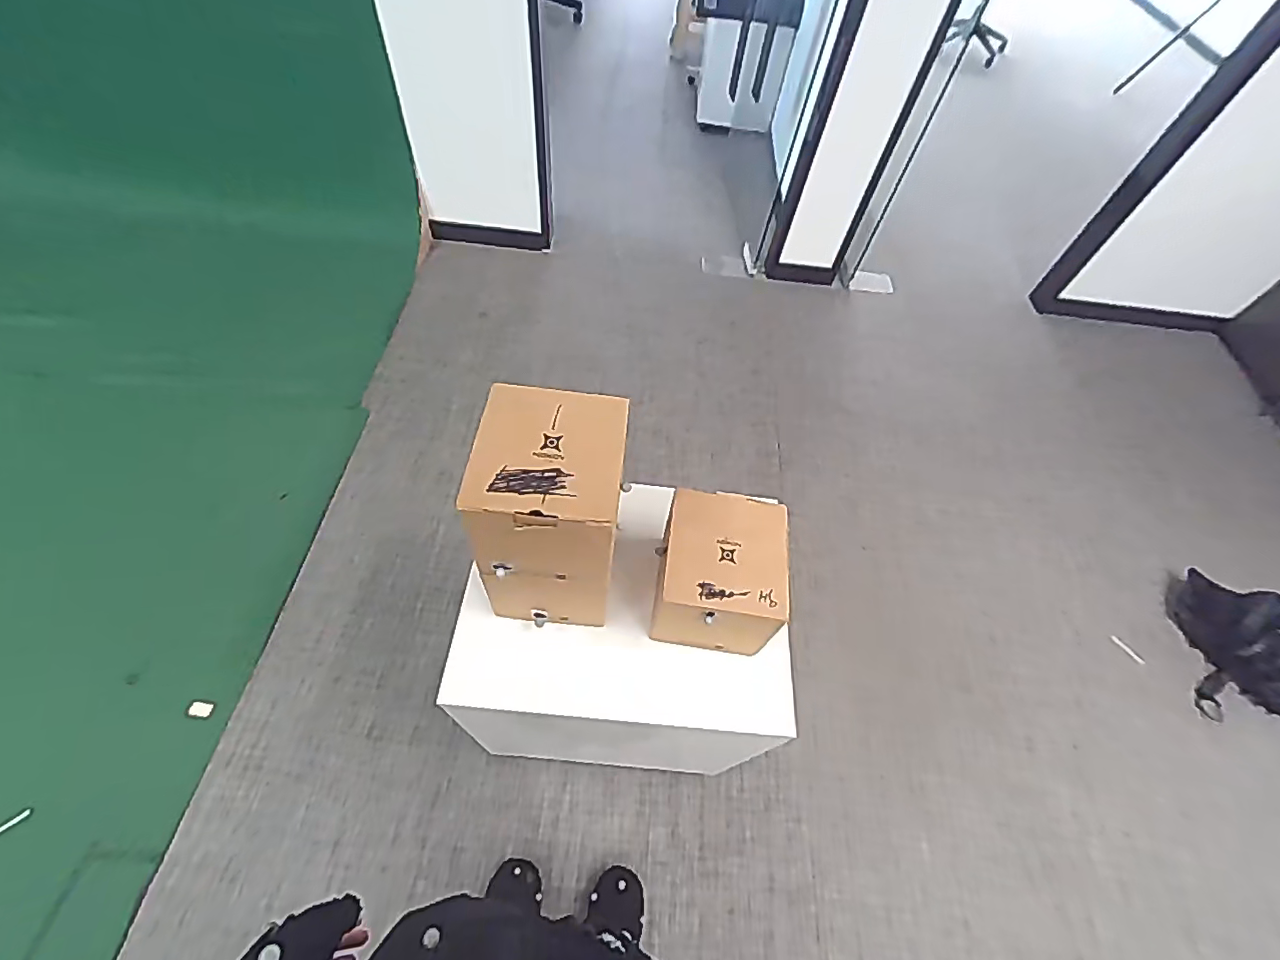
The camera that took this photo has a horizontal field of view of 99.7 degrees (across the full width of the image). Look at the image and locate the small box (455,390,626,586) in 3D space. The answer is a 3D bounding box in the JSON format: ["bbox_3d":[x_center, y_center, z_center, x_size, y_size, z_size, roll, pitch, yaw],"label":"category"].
[{"bbox_3d":[-0.110,0.016,0.670,0.168,0.176,0.179,7,55,-1],"label":"small box"}]

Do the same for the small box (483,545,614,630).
[{"bbox_3d":[-0.123,0.108,0.806,0.168,0.176,0.179,4,58,-2],"label":"small box"}]

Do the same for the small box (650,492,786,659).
[{"bbox_3d":[0.110,0.145,0.804,0.168,0.176,0.179,9,56,1],"label":"small box"}]
